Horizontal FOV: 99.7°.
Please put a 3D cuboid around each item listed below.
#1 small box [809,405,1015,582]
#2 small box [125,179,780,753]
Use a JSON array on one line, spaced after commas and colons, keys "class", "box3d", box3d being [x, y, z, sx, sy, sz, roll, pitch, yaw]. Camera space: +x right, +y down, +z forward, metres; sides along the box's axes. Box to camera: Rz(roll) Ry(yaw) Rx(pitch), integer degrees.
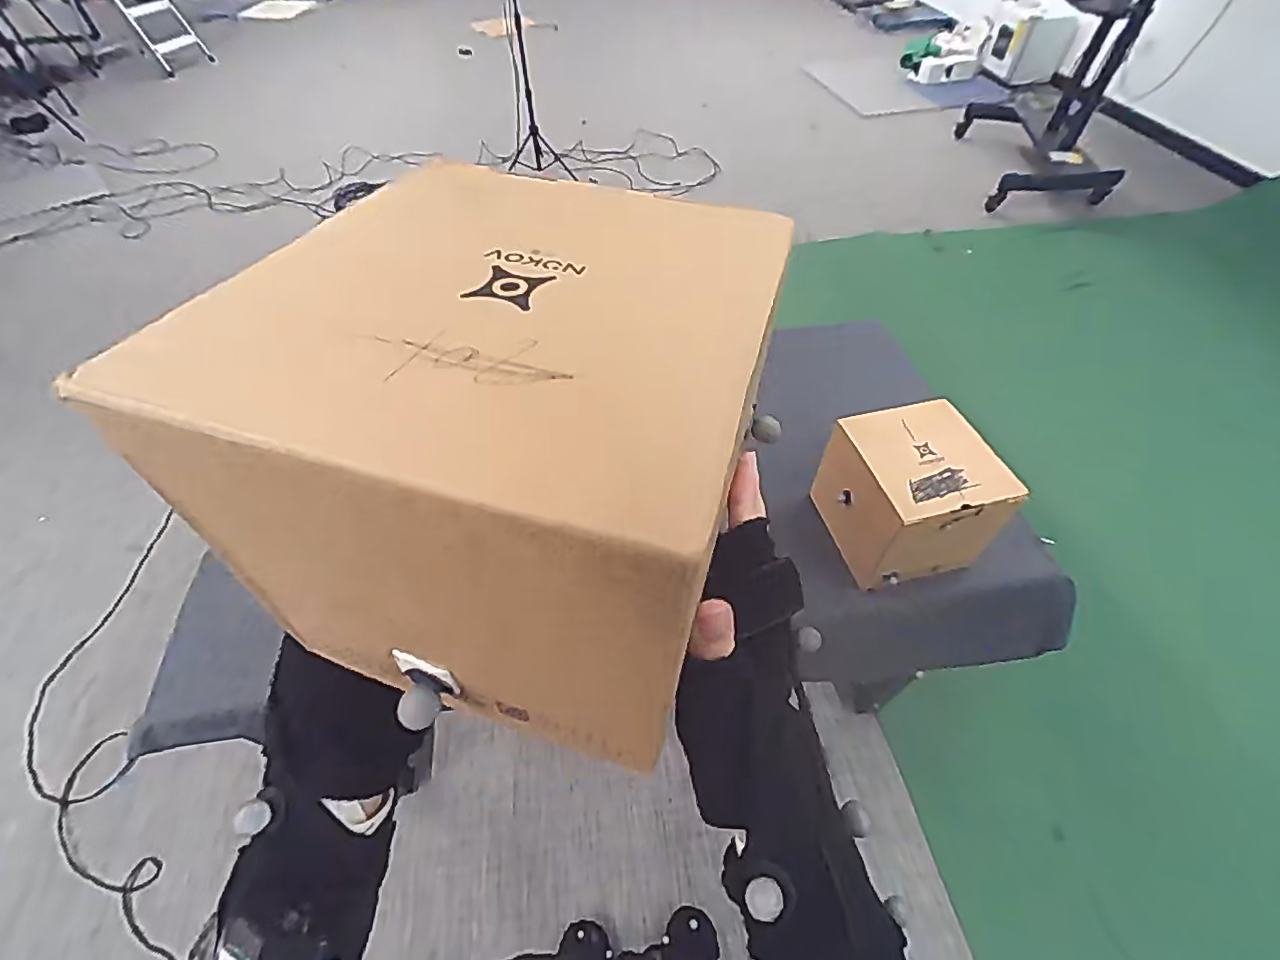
[{"class": "small box", "box3d": [0.359, 0.026, 0.754, 0.168, 0.176, 0.179, -11, 51, -7]}, {"class": "small box", "box3d": [-0.044, -0.008, 0.248, 0.168, 0.176, 0.179, 13, 49, 10]}]
